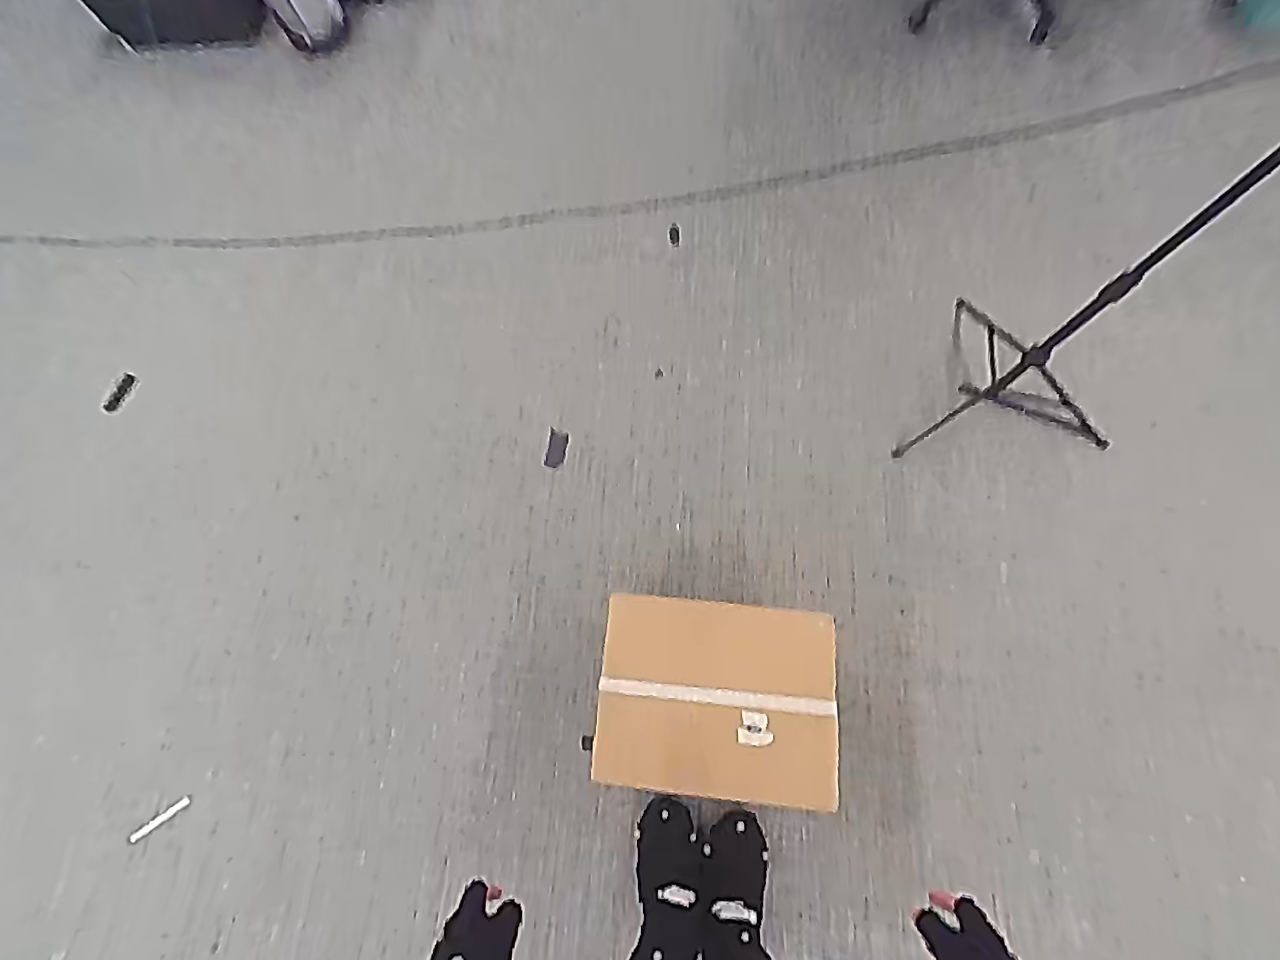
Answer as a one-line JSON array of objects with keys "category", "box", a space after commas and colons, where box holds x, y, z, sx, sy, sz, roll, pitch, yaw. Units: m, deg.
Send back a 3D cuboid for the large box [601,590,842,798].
[{"category": "large box", "box": [0.149, 0.406, 1.076, 0.408, 0.320, 0.320, 4, 73, 5]}]
